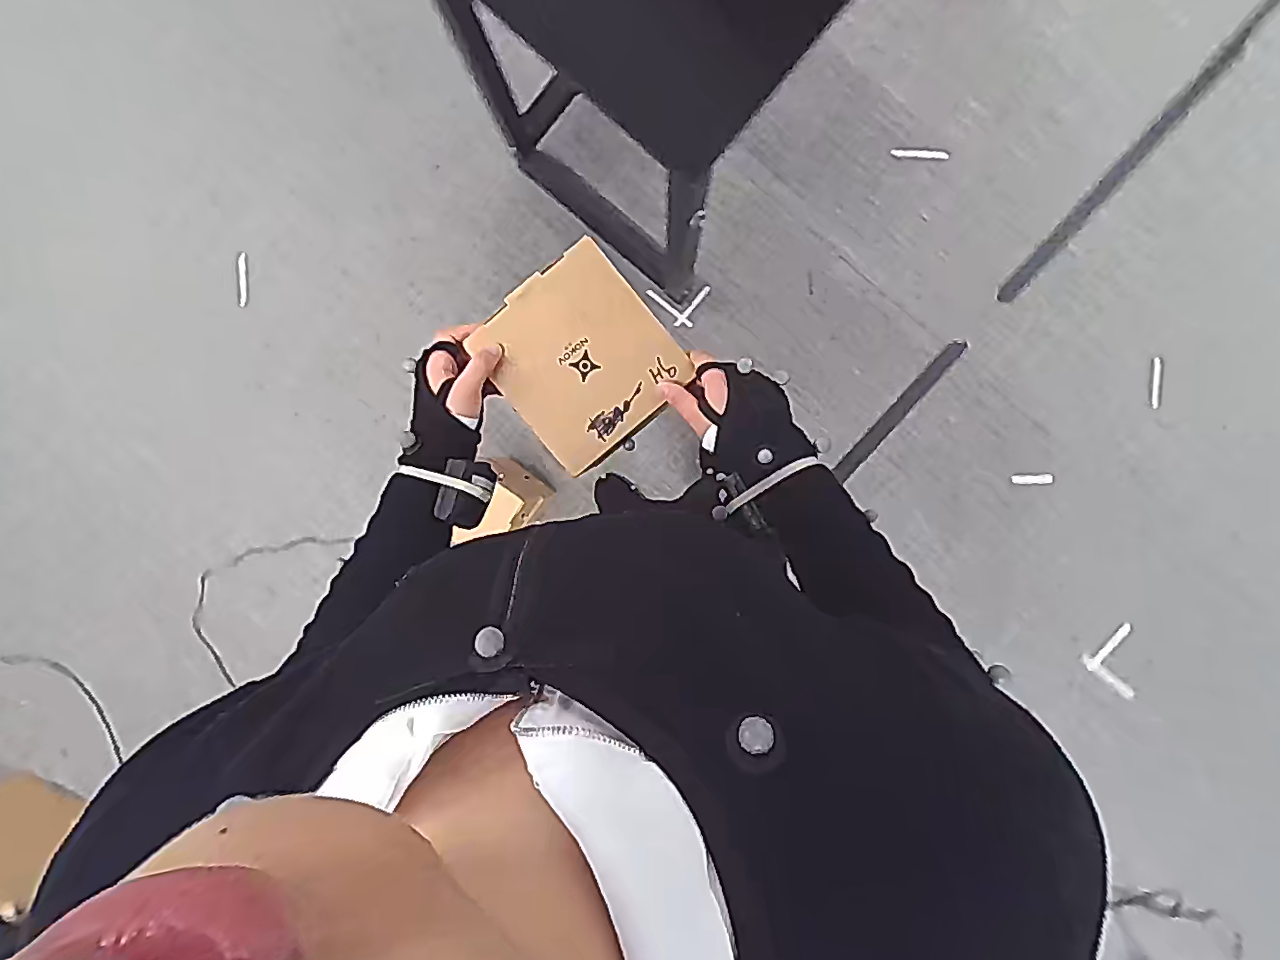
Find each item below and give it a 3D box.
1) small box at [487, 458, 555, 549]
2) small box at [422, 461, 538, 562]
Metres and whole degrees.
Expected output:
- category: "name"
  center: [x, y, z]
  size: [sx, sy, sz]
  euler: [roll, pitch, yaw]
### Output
- category: "small box"
  center: [-0.352, 0.057, 1.436]
  size: [0.179, 0.176, 0.168]
  euler: [37, 95, -1]
- category: "small box"
  center: [-0.365, 0.065, 1.274]
  size: [0.179, 0.176, 0.168]
  euler: [33, 93, 2]
